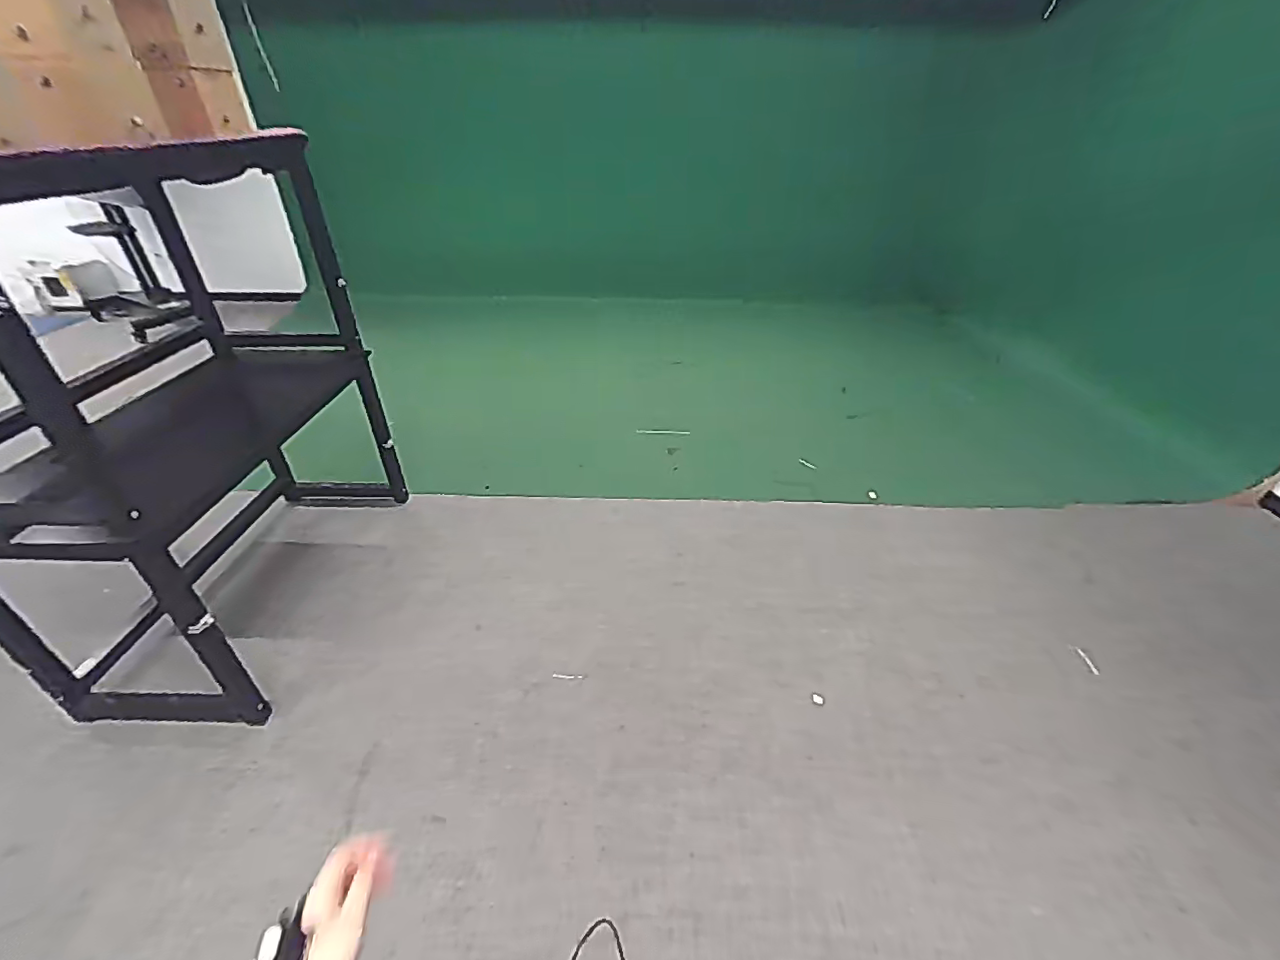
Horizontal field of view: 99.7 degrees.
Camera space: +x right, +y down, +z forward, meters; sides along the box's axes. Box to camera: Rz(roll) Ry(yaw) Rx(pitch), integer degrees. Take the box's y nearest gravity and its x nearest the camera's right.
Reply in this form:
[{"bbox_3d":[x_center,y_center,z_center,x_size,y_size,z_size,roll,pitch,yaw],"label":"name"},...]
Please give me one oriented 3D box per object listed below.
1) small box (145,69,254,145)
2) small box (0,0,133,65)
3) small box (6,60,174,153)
[{"bbox_3d":[-1.244,-1.044,1.519,0.179,0.176,0.168,3,35,2],"label":"small box"},{"bbox_3d":[-1.255,-0.986,1.148,0.179,0.176,0.168,2,35,1],"label":"small box"},{"bbox_3d":[-1.244,-0.851,1.241,0.179,0.176,0.168,2,35,1],"label":"small box"}]
